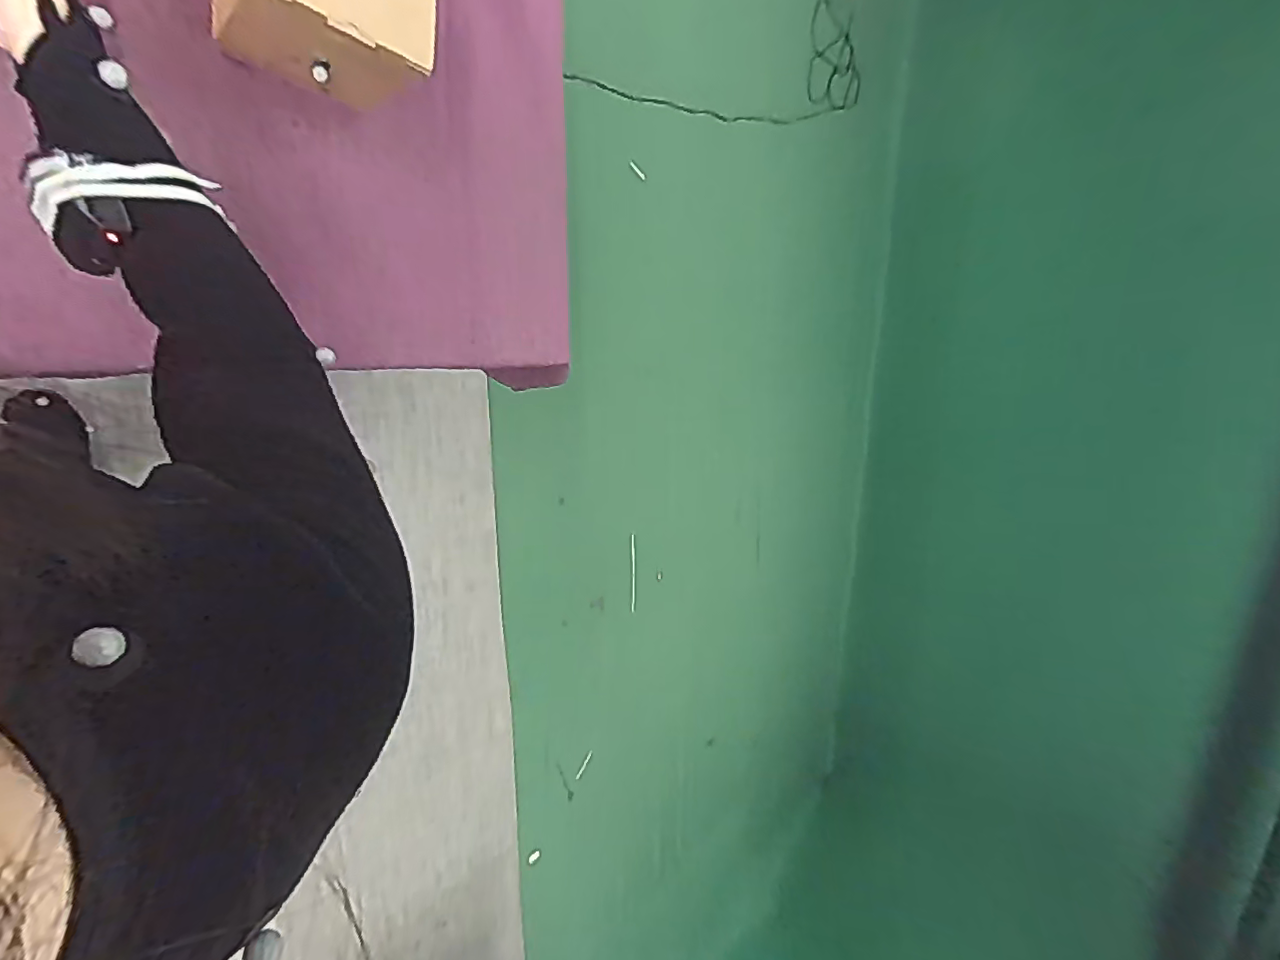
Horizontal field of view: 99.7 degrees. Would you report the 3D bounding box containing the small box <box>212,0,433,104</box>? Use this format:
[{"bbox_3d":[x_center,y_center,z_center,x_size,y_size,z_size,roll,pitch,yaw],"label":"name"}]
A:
[{"bbox_3d":[-0.331,-0.537,0.566,0.168,0.176,0.179,-3,103,-47],"label":"small box"}]
